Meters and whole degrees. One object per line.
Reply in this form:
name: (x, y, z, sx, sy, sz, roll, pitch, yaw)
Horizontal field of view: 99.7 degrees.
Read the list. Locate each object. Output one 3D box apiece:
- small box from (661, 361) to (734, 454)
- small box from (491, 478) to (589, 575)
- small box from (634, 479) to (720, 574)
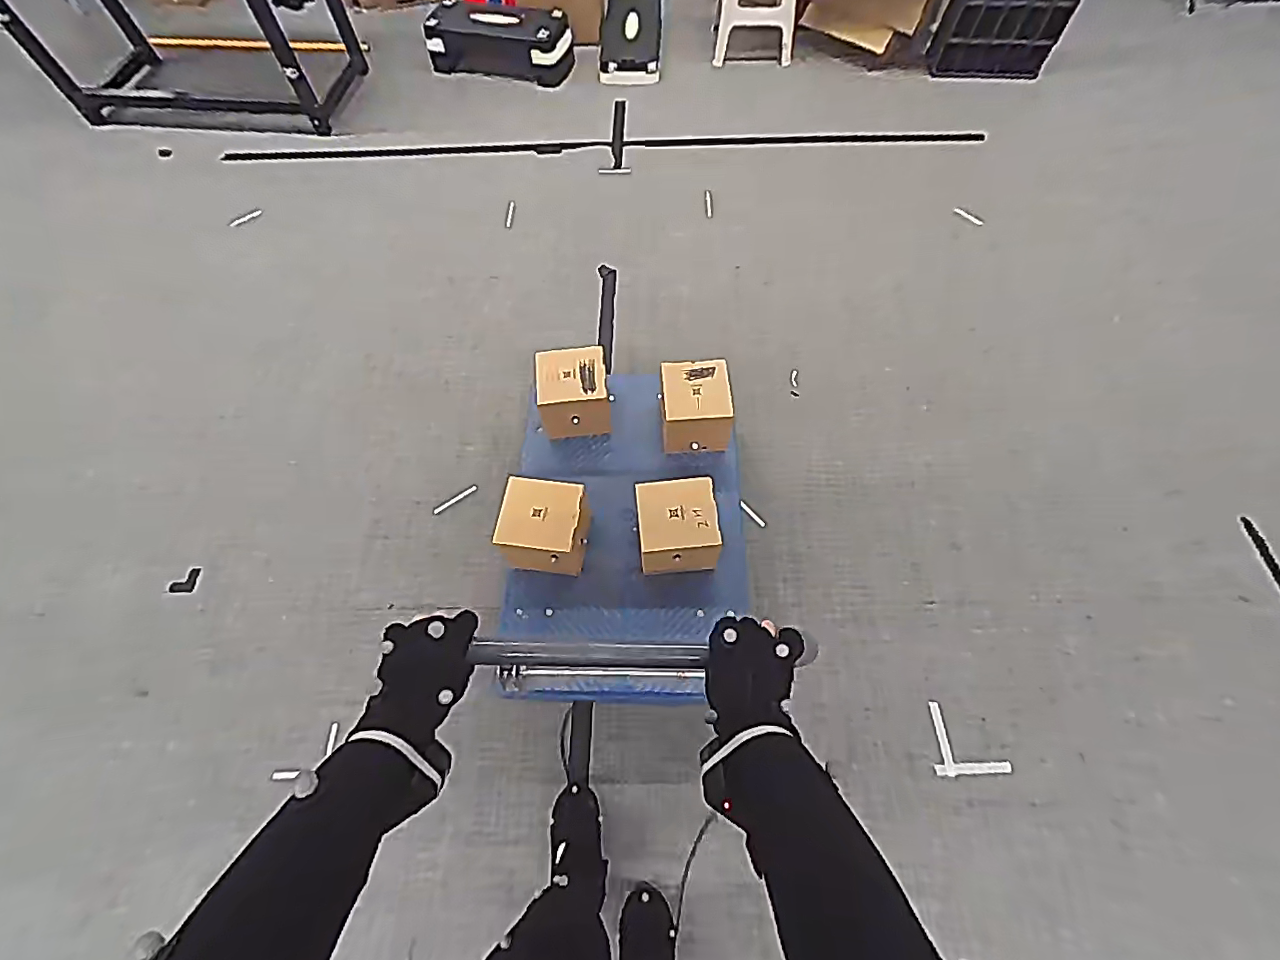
small box: (0.141, -0.185, 1.397, 0.168, 0.176, 0.179, -3, 64, 0)
small box: (-0.223, 0.112, 1.258, 0.179, 0.176, 0.168, 7, 63, 3)
small box: (0.082, 0.113, 1.248, 0.179, 0.176, 0.168, -5, 63, -1)
